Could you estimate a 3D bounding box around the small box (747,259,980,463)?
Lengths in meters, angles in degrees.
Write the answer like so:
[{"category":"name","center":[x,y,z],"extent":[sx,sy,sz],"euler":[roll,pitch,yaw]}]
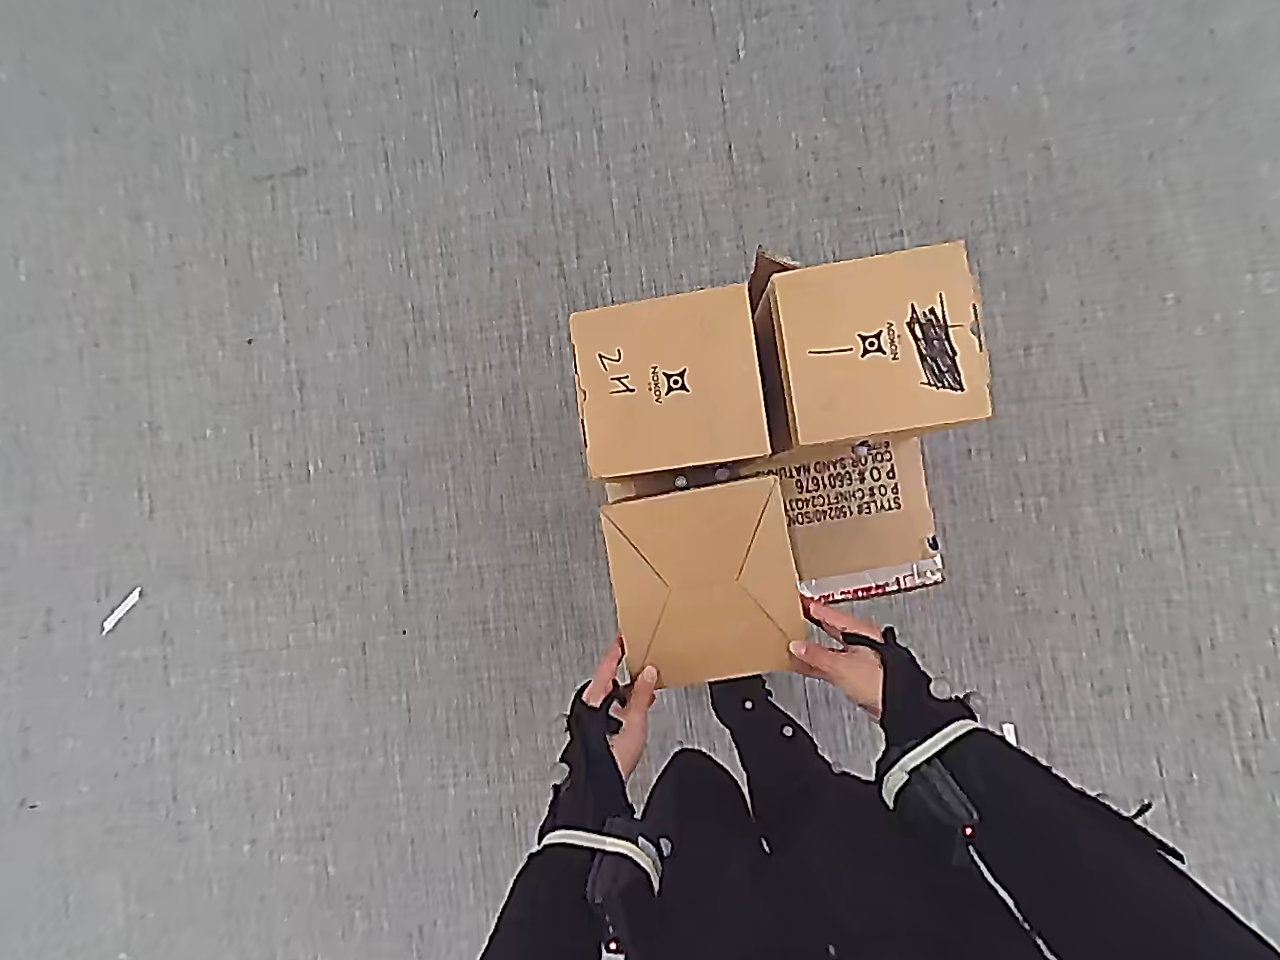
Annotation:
[{"category":"small box","center":[0.223,-0.113,0.583],"extent":[0.179,0.176,0.168],"euler":[-8,88,4]}]
